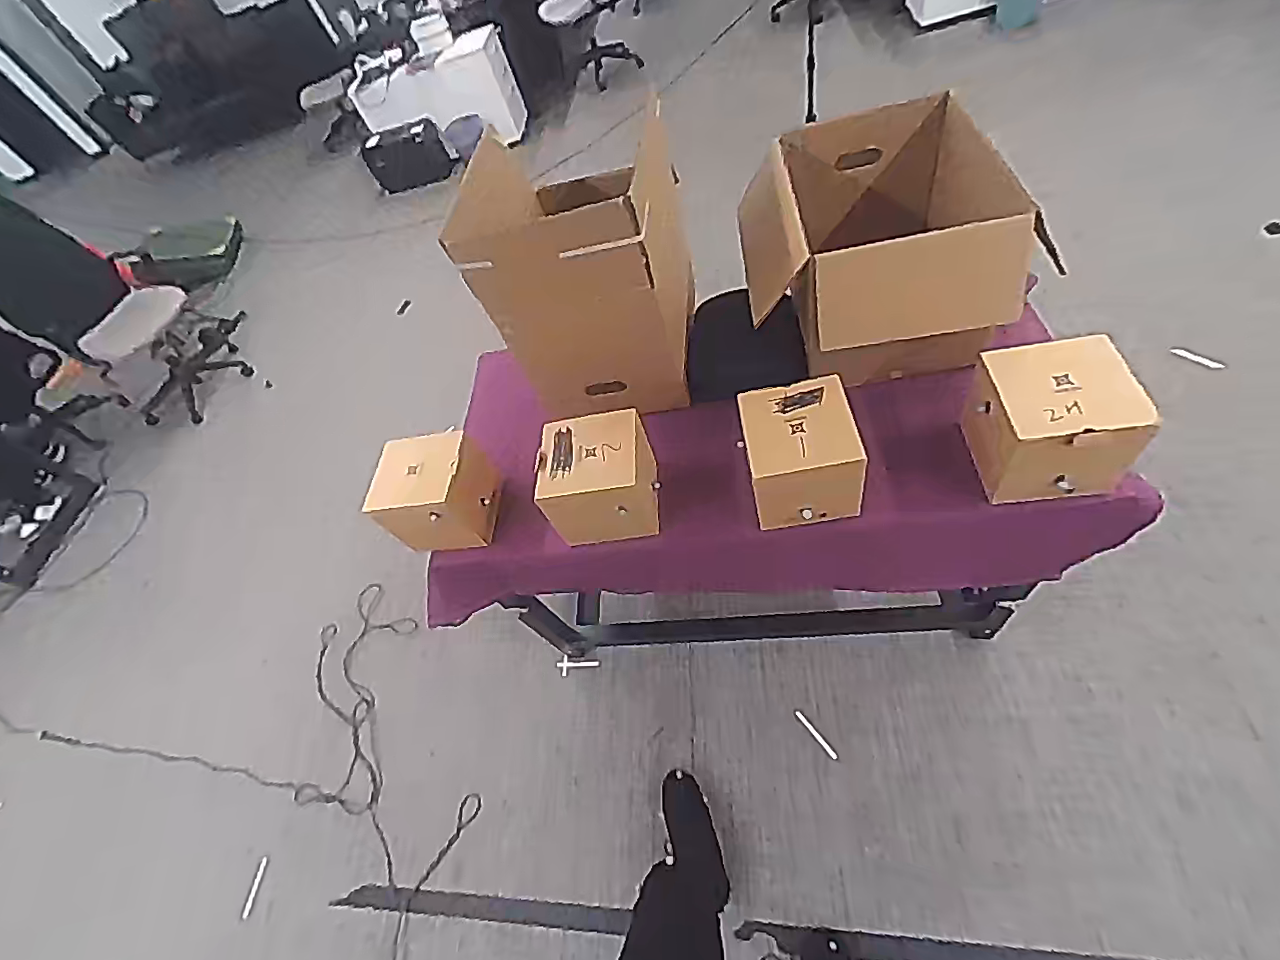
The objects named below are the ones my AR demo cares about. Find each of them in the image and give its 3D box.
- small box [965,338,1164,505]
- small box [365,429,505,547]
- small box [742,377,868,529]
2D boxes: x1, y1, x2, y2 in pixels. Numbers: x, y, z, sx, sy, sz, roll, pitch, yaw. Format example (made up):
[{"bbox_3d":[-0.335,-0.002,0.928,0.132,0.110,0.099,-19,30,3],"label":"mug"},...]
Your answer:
[{"bbox_3d":[0.615,-0.083,0.817,0.168,0.176,0.179,-6,55,15],"label":"small box"},{"bbox_3d":[-0.393,0.023,1.068,0.179,0.176,0.168,-6,55,12],"label":"small box"},{"bbox_3d":[0.268,-0.040,0.901,0.168,0.176,0.179,-10,55,12],"label":"small box"}]
